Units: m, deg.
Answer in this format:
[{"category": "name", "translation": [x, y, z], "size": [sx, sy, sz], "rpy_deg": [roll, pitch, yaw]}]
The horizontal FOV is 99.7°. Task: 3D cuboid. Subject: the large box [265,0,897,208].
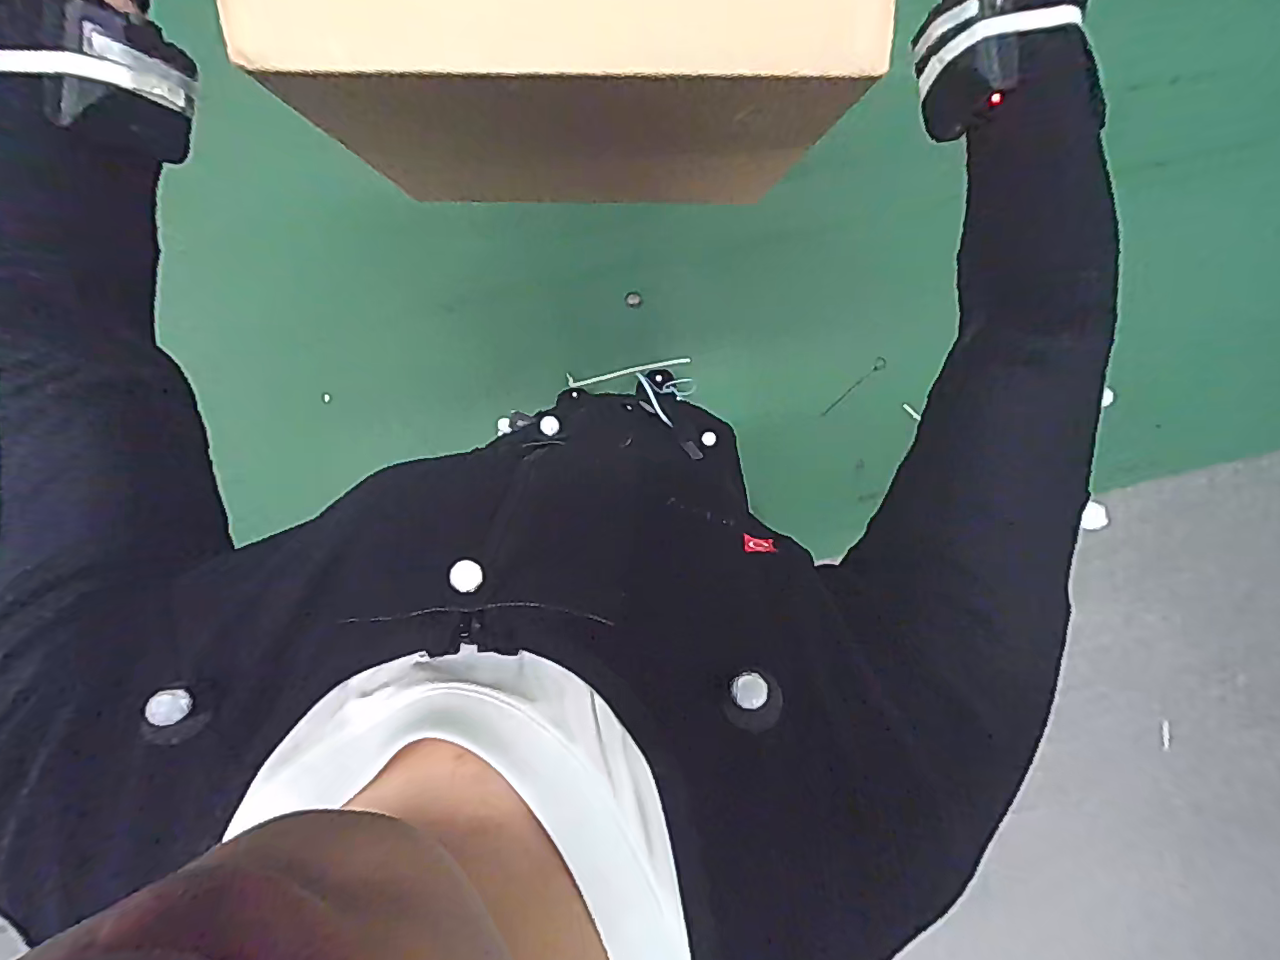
[{"category": "large box", "translation": [-0.044, -0.440, 0.460], "size": [0.408, 0.320, 0.320], "rpy_deg": [-1, 104, -4]}]
